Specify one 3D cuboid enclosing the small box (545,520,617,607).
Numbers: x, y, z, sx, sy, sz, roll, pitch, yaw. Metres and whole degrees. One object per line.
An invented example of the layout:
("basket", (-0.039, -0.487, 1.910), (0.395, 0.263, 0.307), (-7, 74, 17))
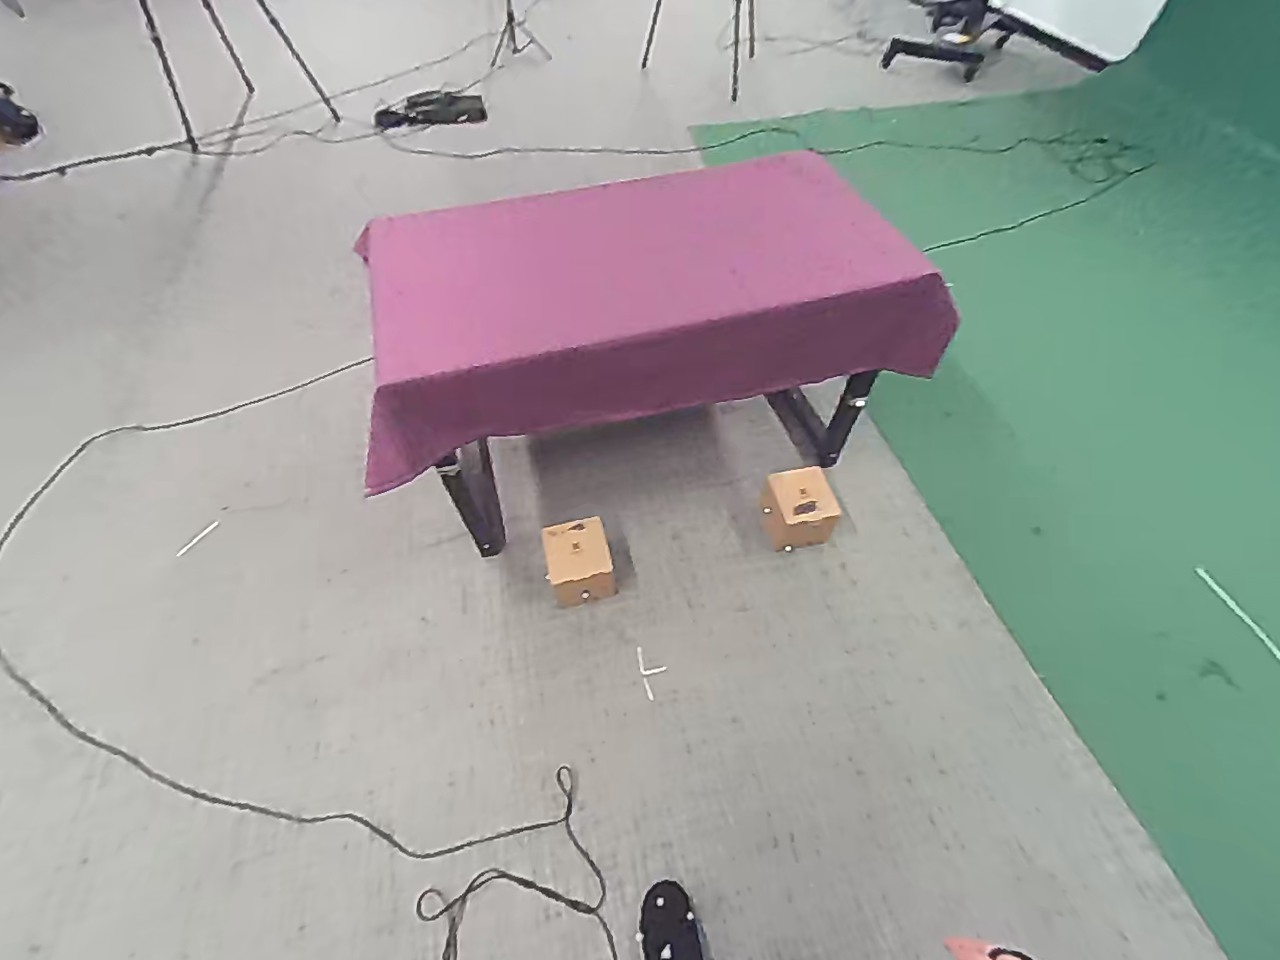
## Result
("small box", (-0.162, 0.240, 1.515), (0.168, 0.176, 0.179), (-12, 56, -7))
